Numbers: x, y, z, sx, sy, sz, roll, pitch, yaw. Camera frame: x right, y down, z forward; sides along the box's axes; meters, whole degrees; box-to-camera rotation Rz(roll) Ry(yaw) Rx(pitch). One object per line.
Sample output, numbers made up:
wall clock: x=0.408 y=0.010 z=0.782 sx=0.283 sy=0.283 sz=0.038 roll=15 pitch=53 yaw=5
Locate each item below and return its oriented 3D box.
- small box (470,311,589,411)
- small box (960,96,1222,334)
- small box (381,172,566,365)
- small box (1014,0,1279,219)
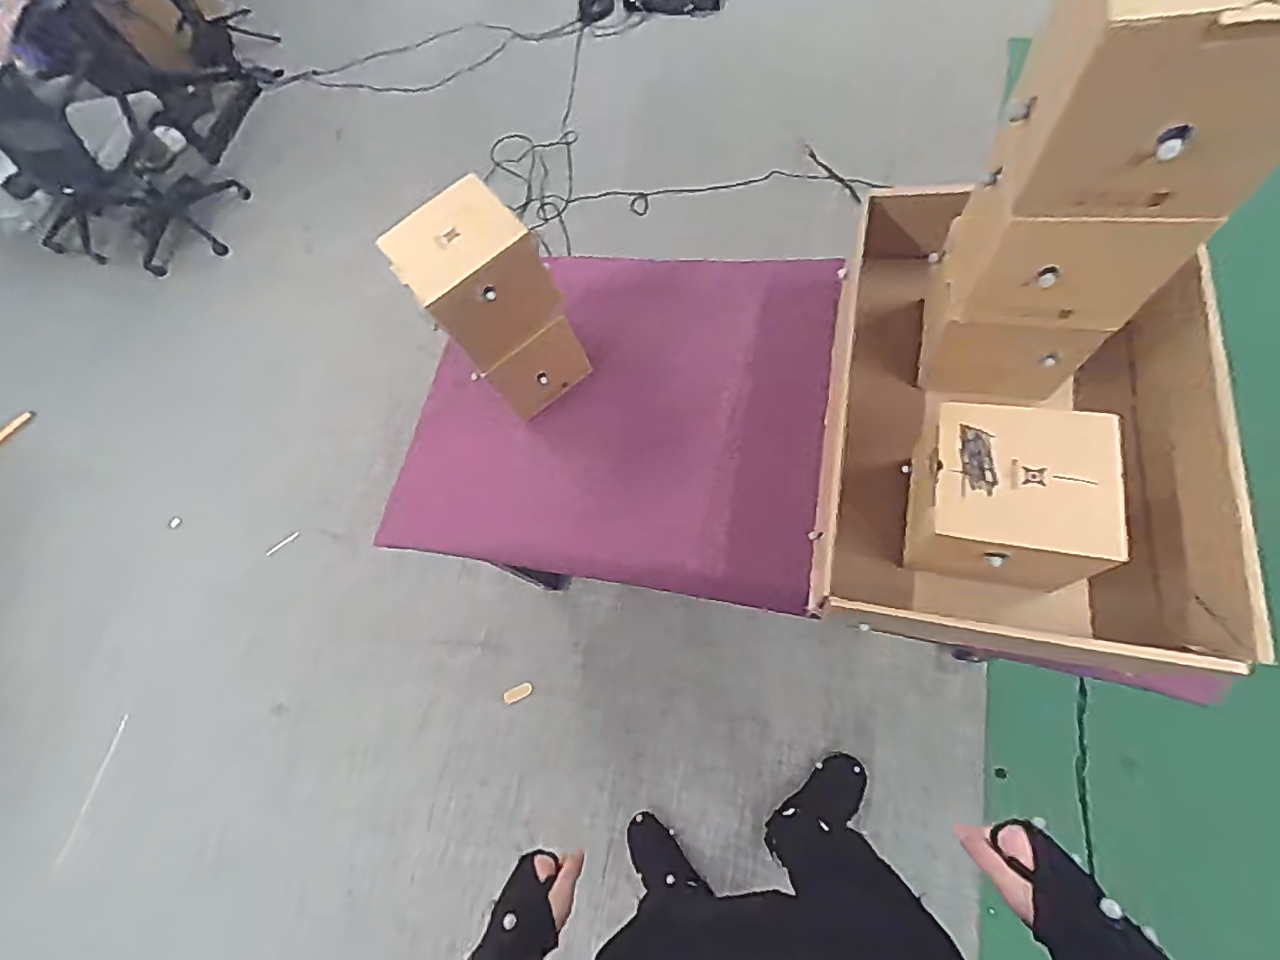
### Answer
small box: x=-0.214 y=-0.246 z=0.964 sx=0.168 sy=0.176 sz=0.179 roll=-37 pitch=66 yaw=-4
small box: x=0.466 y=-0.280 z=0.588 sx=0.168 sy=0.176 sz=0.179 roll=9 pitch=72 yaw=17
small box: x=-0.241 y=-0.307 z=0.815 sx=0.179 sy=0.176 sz=0.168 roll=-37 pitch=67 yaw=-4
small box: x=0.431 y=-0.339 z=0.438 sx=0.168 sy=0.176 sz=0.179 roll=9 pitch=73 yaw=17
